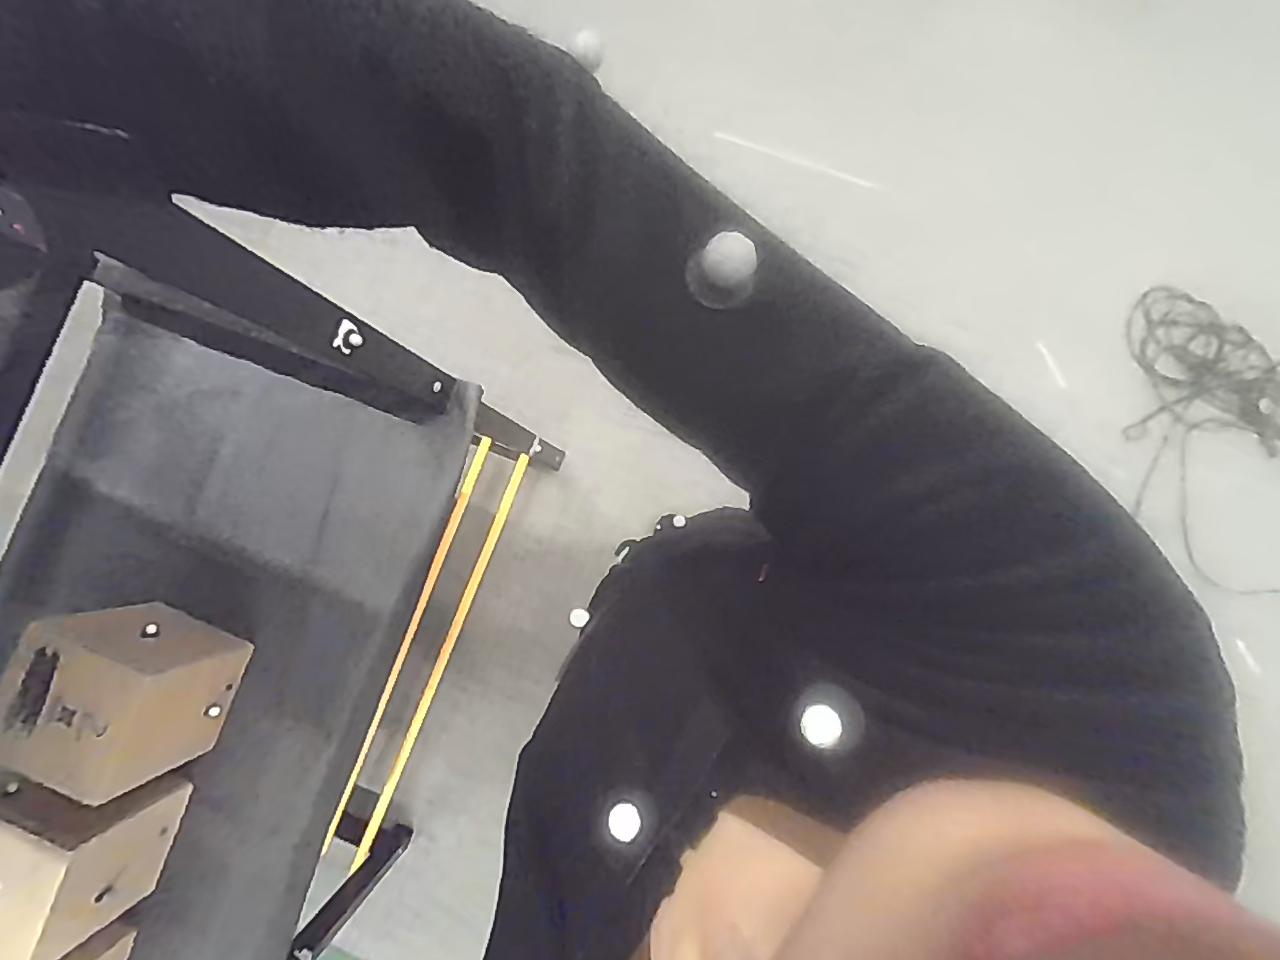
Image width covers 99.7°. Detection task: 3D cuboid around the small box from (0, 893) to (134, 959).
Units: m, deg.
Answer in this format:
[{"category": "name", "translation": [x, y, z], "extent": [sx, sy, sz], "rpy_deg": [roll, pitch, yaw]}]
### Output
[{"category": "small box", "translation": [-0.837, 0.691, 0.702], "extent": [0.179, 0.176, 0.168], "rpy_deg": [18, 87, 5]}]
